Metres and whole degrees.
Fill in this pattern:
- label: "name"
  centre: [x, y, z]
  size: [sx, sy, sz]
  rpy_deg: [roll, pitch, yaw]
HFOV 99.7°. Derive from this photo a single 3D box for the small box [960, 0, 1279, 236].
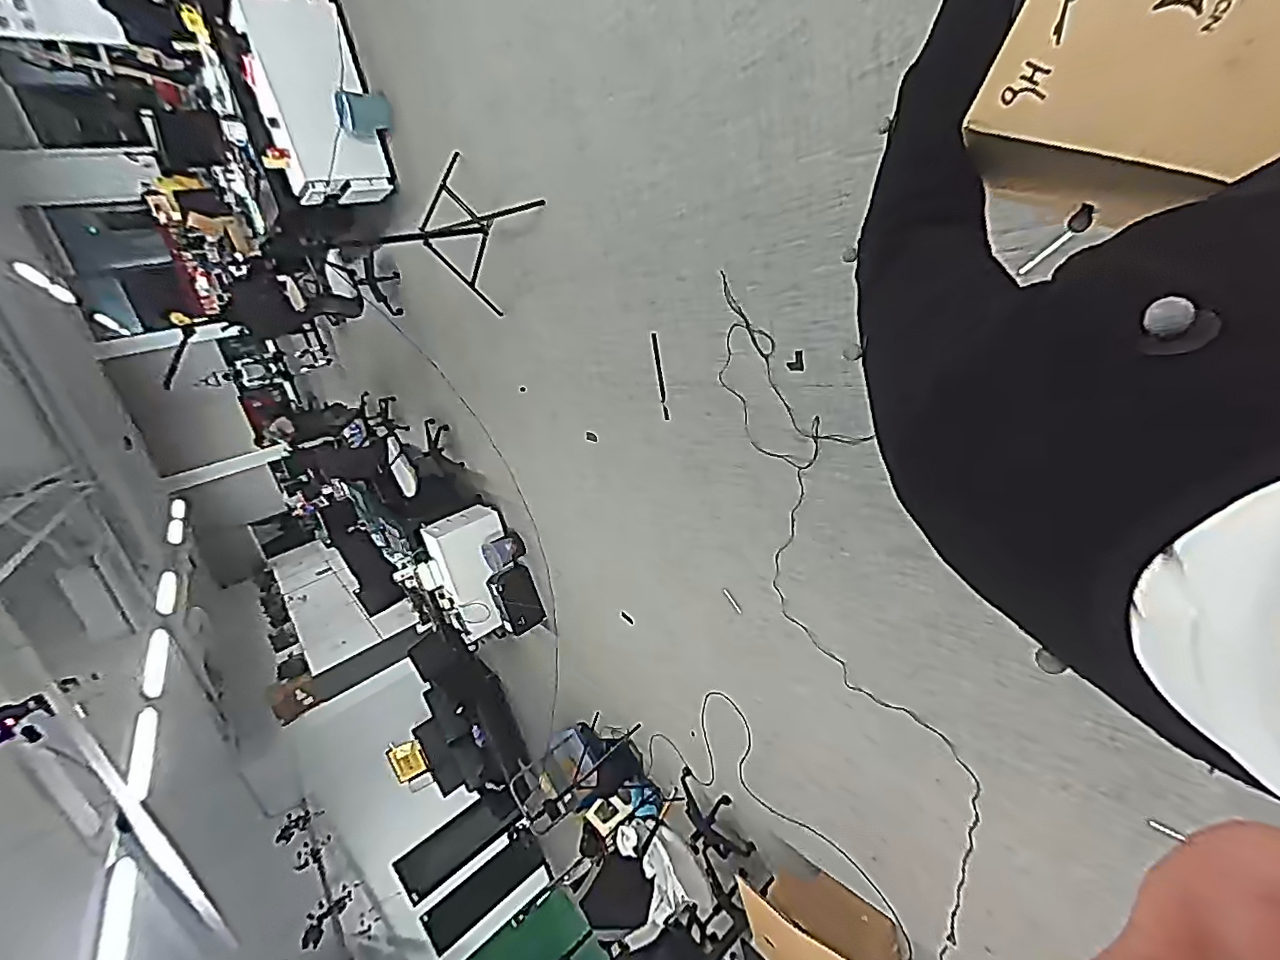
- label: "small box"
  centre: [0.355, -0.281, 0.364]
  size: [0.179, 0.176, 0.168]
  rpy_deg: [33, 117, 26]
